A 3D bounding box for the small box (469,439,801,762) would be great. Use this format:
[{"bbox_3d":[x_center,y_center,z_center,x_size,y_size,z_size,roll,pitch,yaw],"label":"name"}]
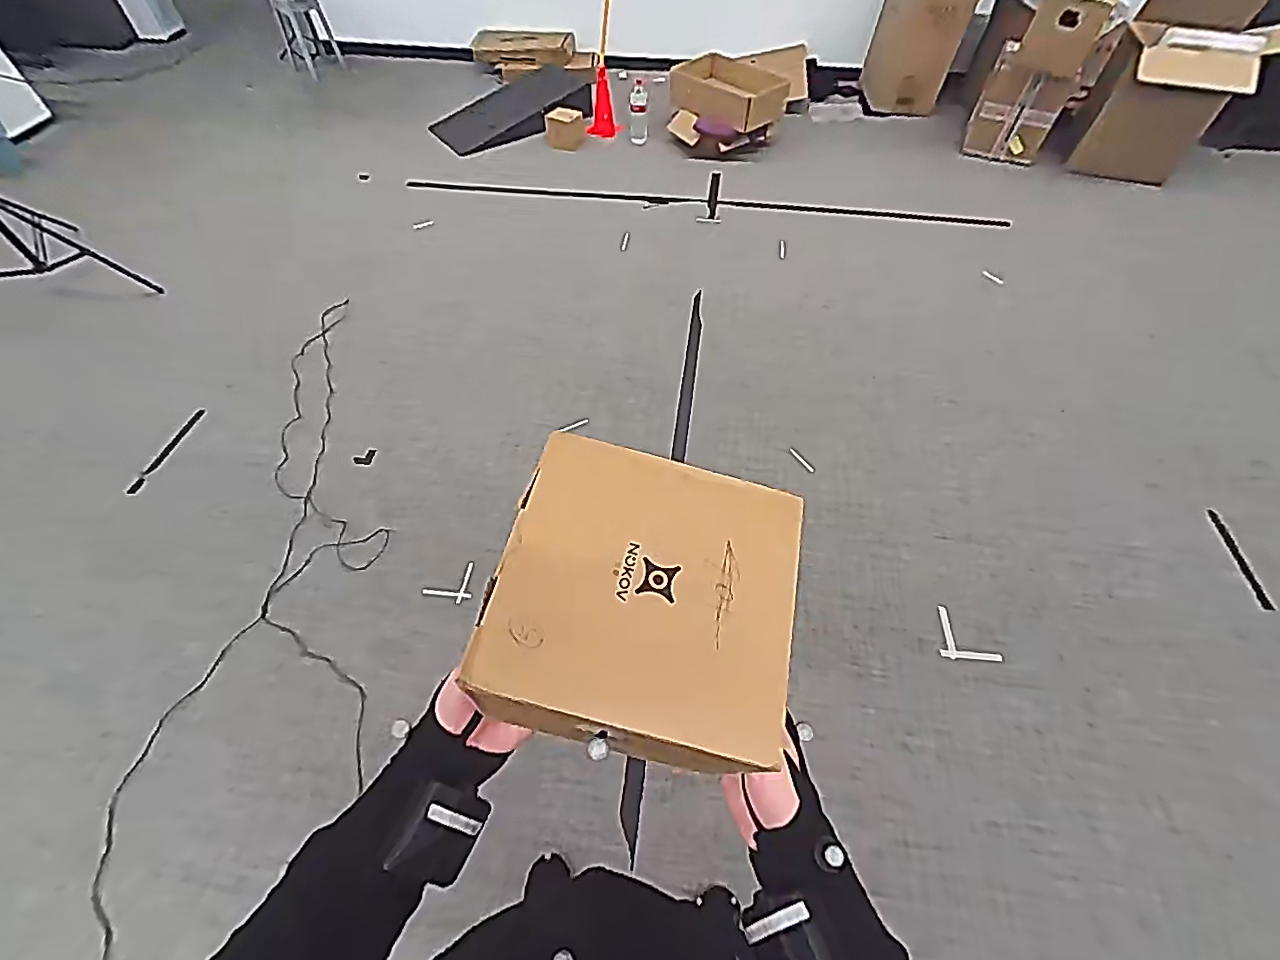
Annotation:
[{"bbox_3d":[-0.003,0.099,0.397,0.179,0.176,0.168,16,61,-1],"label":"small box"}]
